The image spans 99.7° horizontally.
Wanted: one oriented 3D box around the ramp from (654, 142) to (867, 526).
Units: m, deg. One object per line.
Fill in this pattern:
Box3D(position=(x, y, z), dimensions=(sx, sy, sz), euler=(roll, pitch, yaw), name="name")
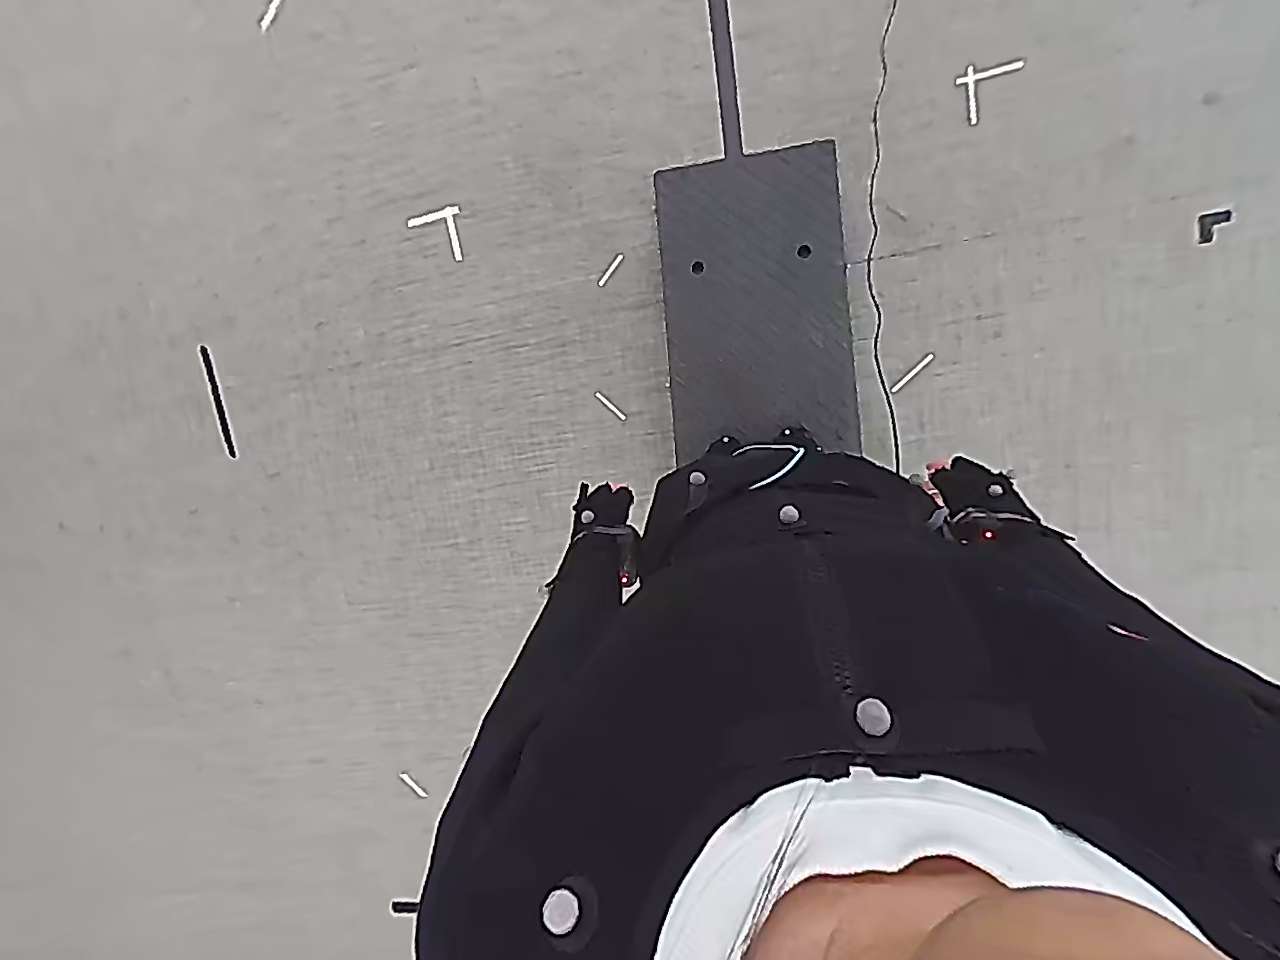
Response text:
Box3D(position=(0.312, -0.386, 1.467), dimensions=(0.509, 0.206, 0.991), euler=(-6, 97, 12), name="ramp")
